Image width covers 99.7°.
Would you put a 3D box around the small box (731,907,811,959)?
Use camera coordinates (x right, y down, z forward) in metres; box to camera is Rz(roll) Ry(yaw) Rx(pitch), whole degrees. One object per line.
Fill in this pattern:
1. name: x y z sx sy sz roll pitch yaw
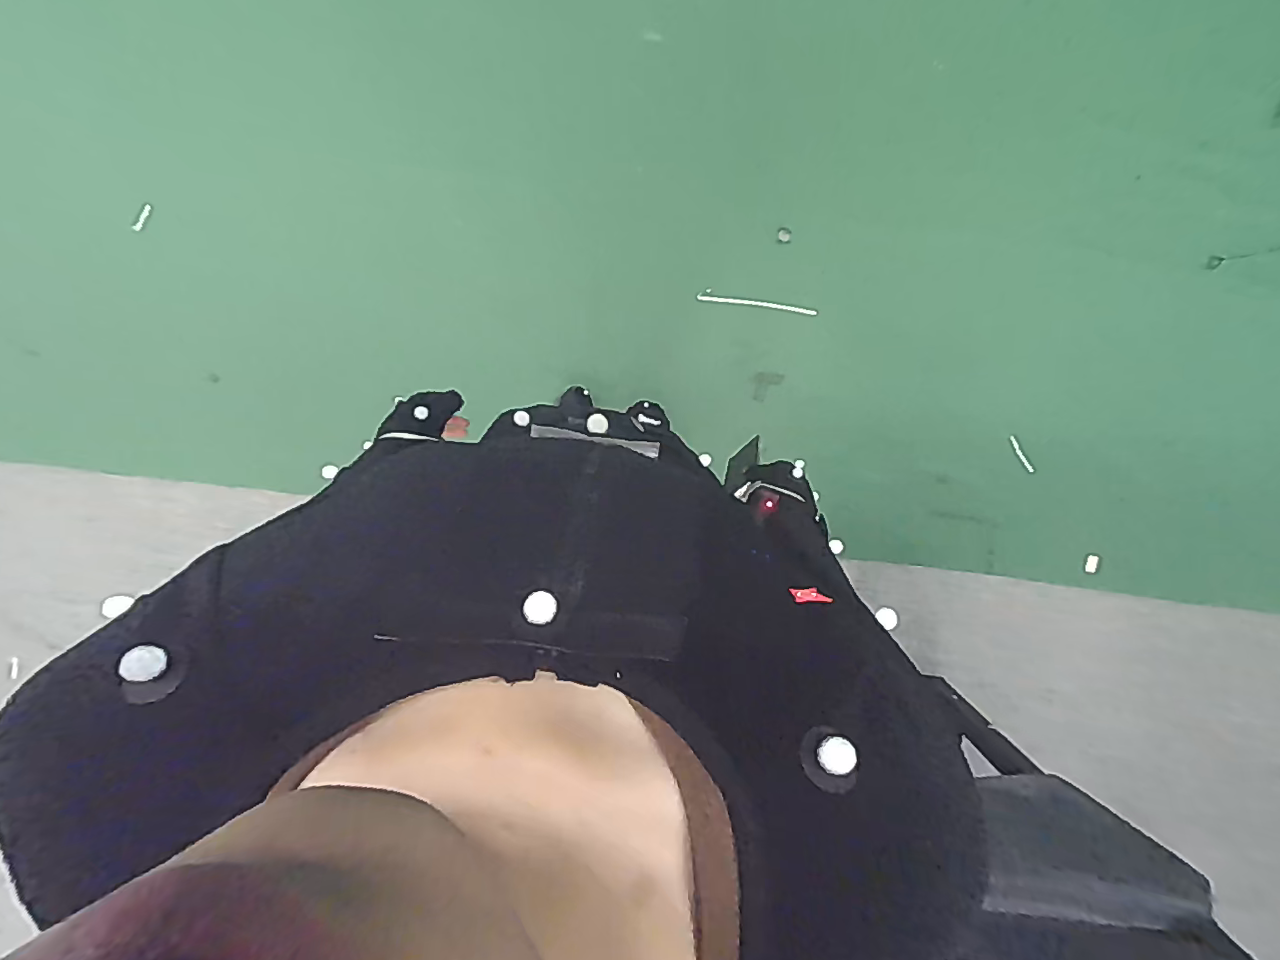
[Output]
1. small box: 0.356 1.329 1.489 0.179 0.176 0.168 9 99 0
